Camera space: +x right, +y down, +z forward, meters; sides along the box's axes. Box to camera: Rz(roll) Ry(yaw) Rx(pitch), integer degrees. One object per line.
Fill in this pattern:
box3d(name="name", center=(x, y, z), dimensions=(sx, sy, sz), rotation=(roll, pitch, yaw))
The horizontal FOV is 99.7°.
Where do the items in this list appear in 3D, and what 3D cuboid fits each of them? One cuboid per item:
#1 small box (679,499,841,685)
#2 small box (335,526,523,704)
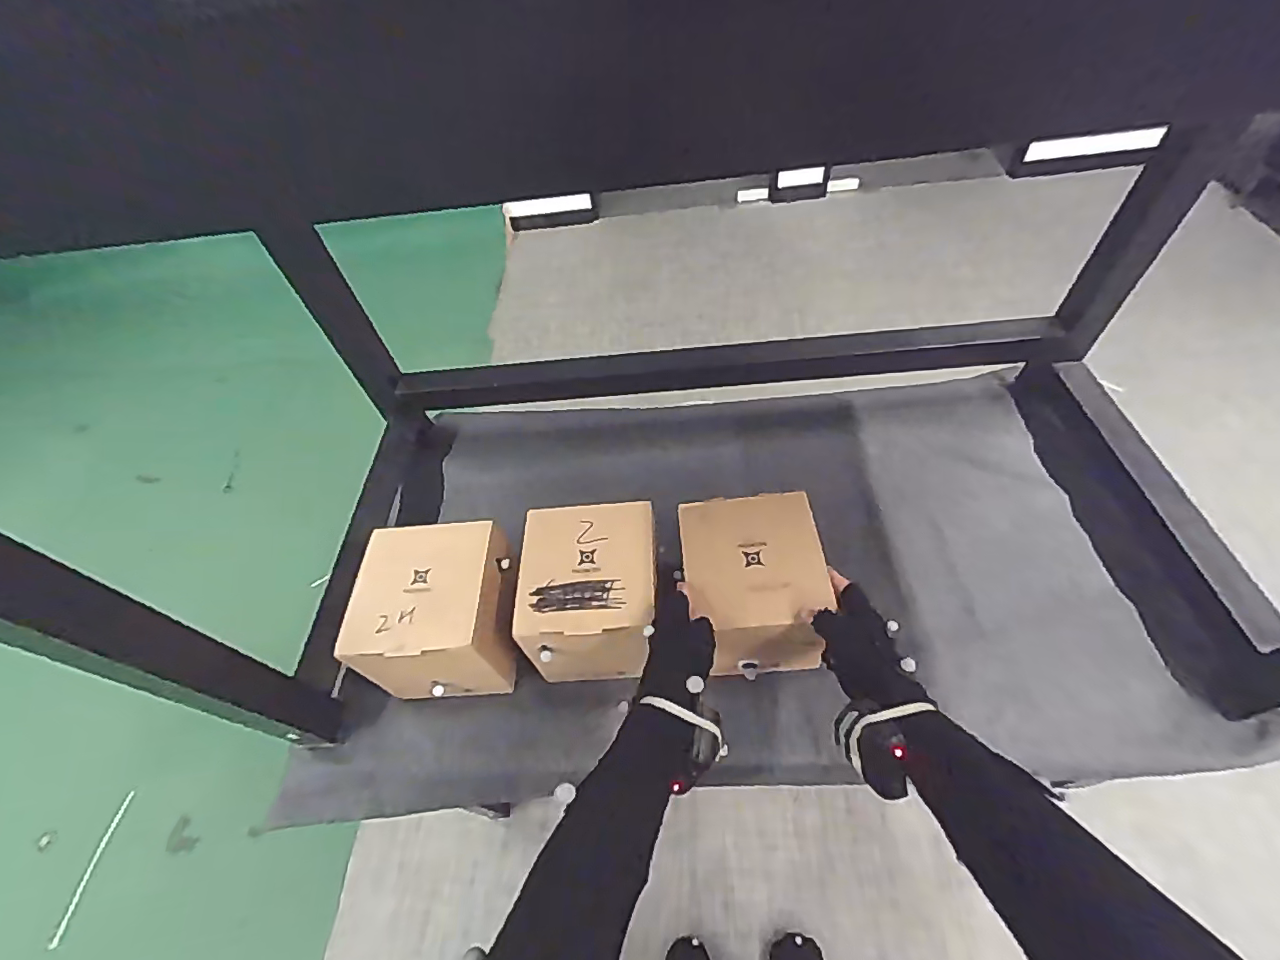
box3d(name="small box", center=(0.143, 0.149, 0.705), dimensions=(0.168, 0.176, 0.179), rotation=(-7, 53, 4))
box3d(name="small box", center=(-0.262, 0.183, 0.725), dimensions=(0.168, 0.176, 0.179), rotation=(-5, 52, 4))
